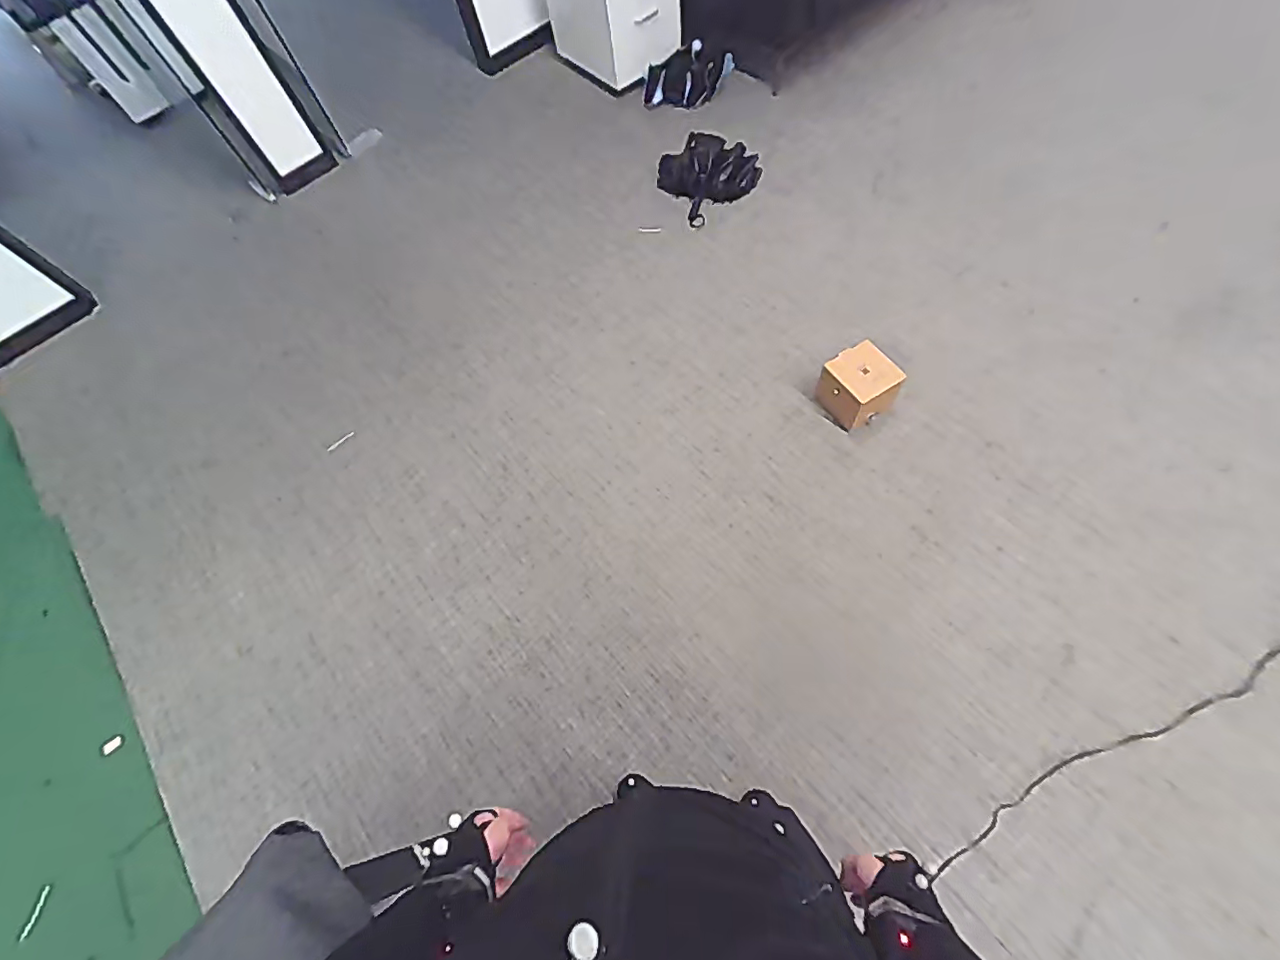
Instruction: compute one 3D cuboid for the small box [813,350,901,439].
[{"bbox_3d":[0.661,-0.260,1.676,0.168,0.176,0.179,-31,65,-8],"label":"small box"}]
